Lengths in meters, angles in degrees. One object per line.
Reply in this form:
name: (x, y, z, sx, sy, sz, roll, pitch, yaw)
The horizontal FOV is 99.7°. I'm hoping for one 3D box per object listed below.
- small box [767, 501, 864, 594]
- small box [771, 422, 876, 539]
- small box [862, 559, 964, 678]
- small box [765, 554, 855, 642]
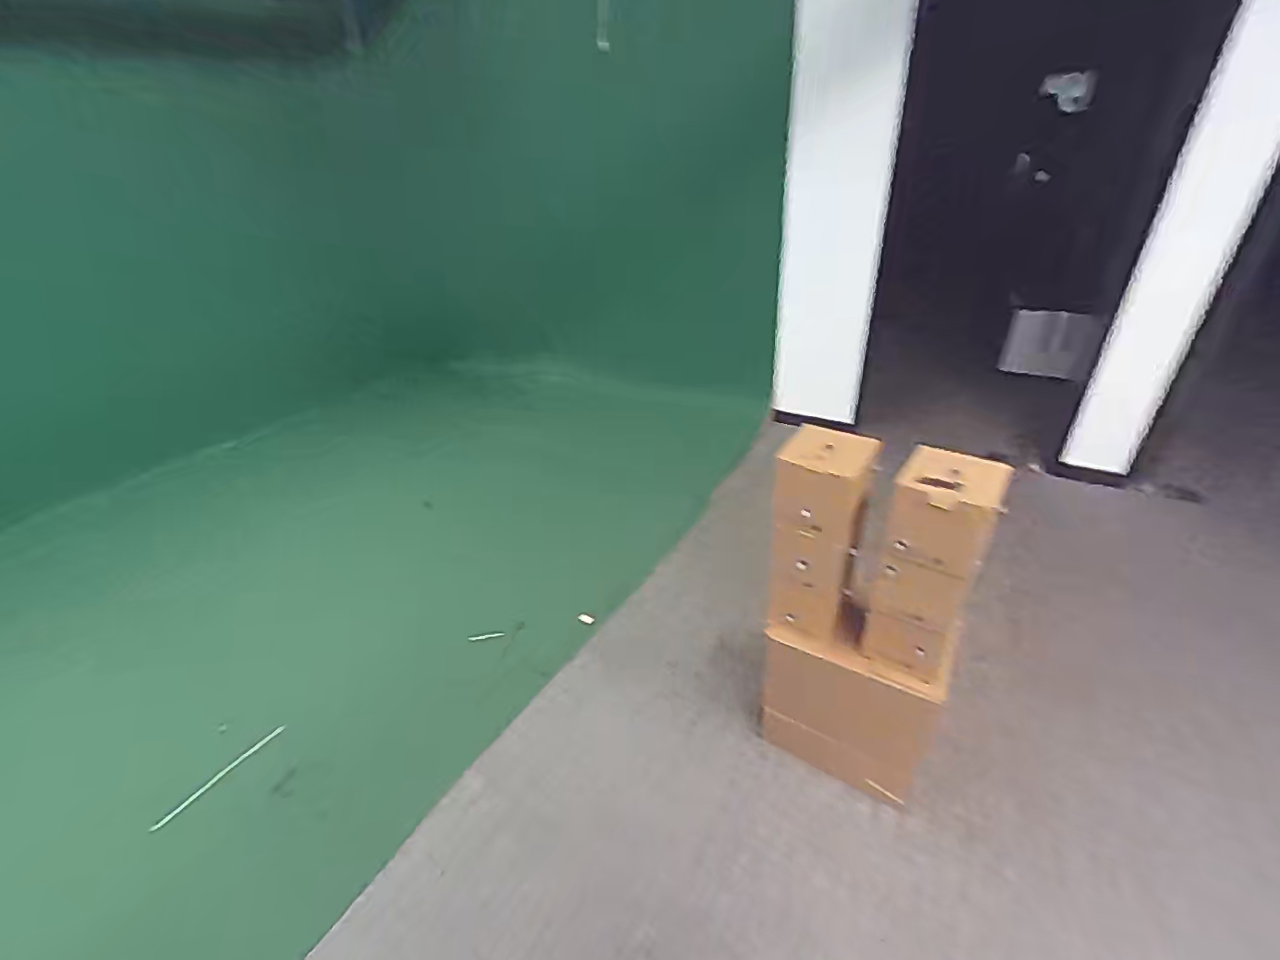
small box: (0.410, 0.138, 1.275, 0.168, 0.176, 0.179, 18, 41, 30)
small box: (0.397, -0.001, 1.186, 0.168, 0.176, 0.179, 18, 41, 31)
small box: (0.630, 0.322, 1.259, 0.168, 0.176, 0.179, 18, 39, 33)
small box: (0.425, 0.271, 1.369, 0.168, 0.176, 0.179, 17, 40, 29)
